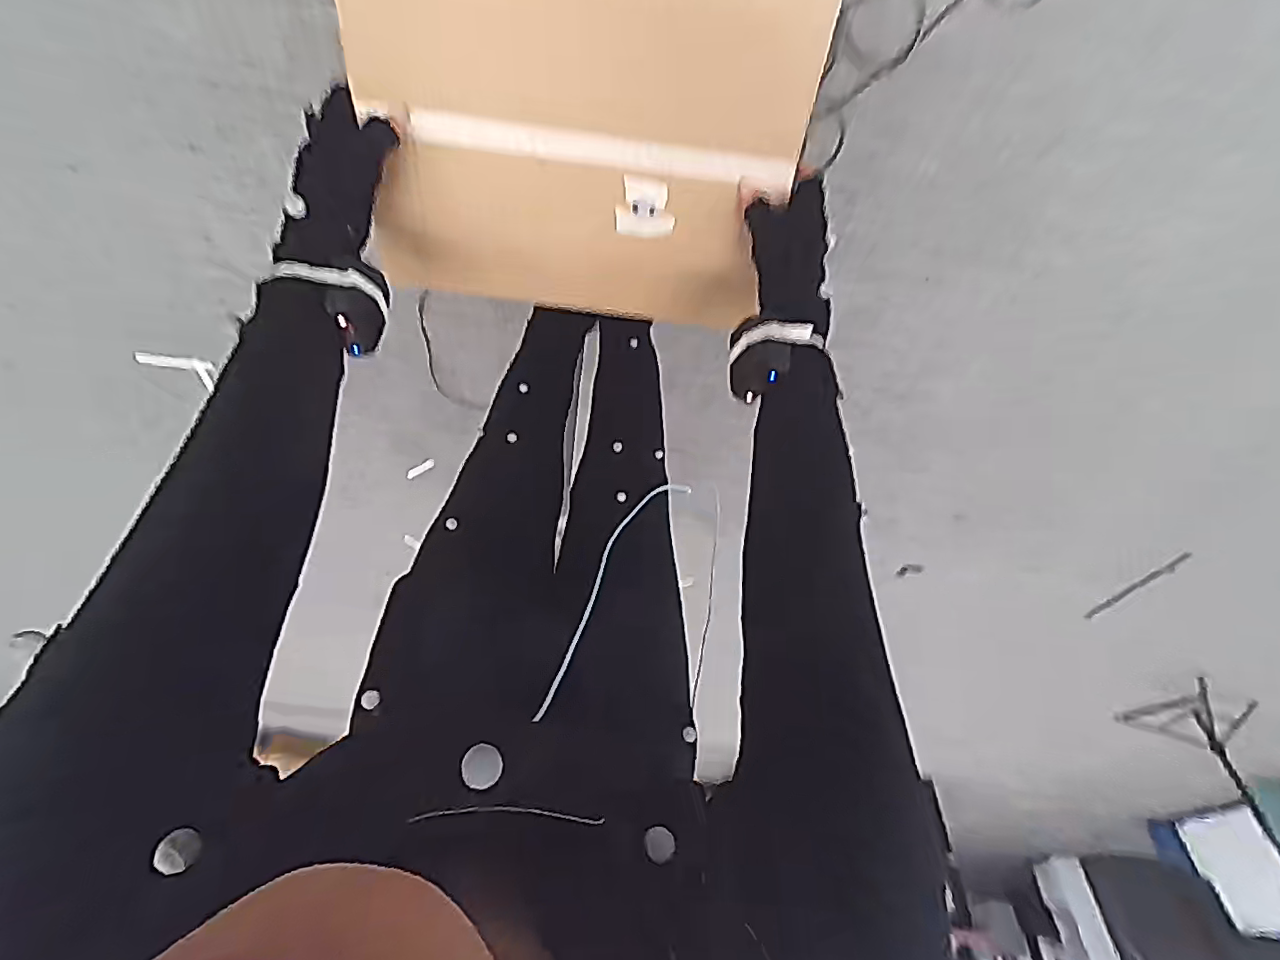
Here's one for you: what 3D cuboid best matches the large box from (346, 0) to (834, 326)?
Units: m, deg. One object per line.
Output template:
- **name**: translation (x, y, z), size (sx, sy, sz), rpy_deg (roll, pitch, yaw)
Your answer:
- **large box**: translation (-0.054, -0.402, 0.622), size (0.408, 0.320, 0.320), rpy_deg (6, 129, -4)
